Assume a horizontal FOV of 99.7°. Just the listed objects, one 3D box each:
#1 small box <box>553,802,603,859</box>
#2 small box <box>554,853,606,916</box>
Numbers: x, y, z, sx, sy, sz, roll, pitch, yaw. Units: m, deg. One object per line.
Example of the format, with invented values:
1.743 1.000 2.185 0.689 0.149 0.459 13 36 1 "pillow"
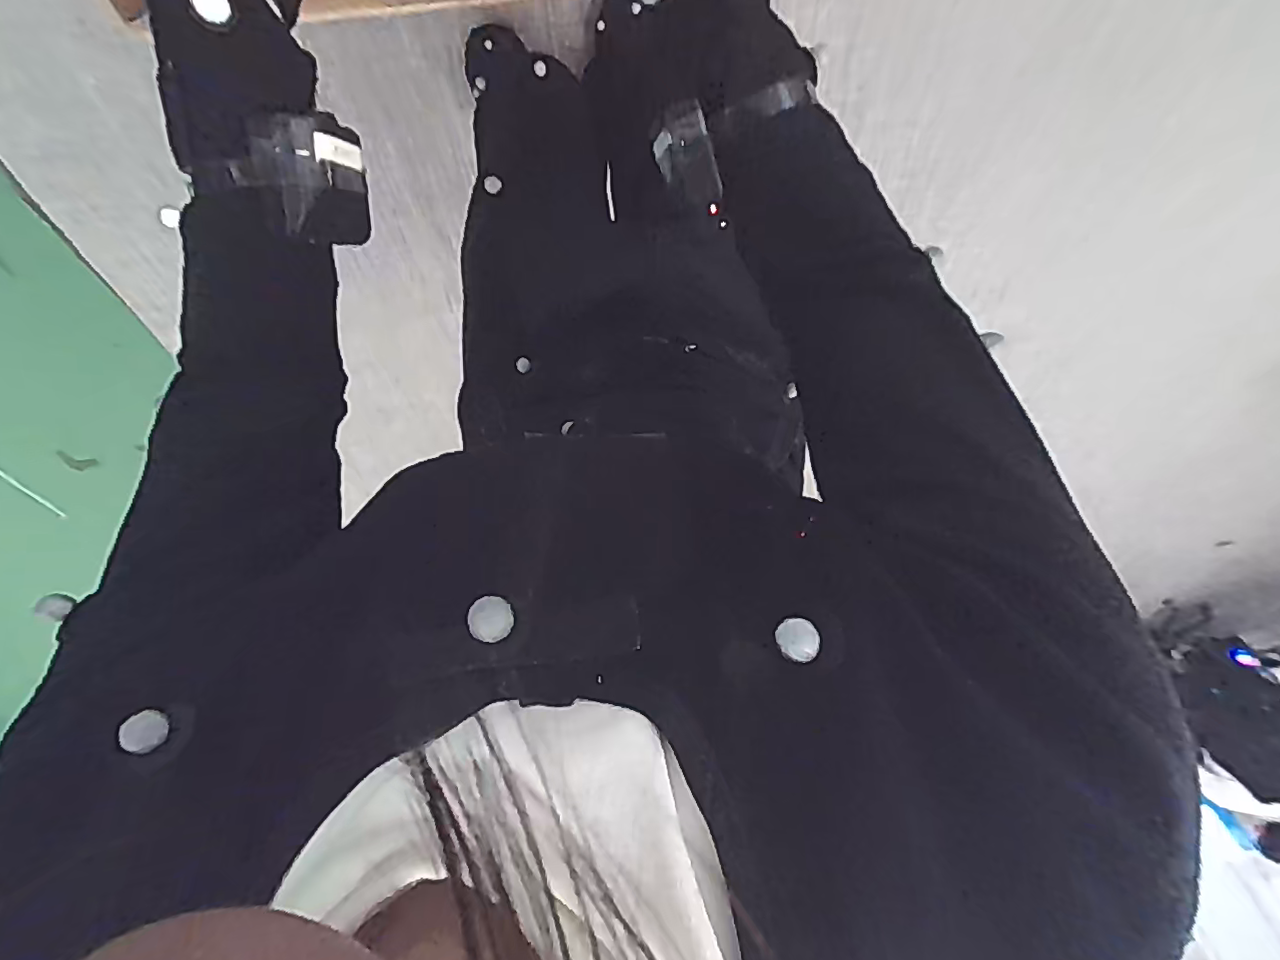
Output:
-0.240 1.366 2.100 0.168 0.176 0.179 -10 139 0 "small box"
-0.220 1.493 1.996 0.168 0.176 0.179 -9 140 -1 "small box"
